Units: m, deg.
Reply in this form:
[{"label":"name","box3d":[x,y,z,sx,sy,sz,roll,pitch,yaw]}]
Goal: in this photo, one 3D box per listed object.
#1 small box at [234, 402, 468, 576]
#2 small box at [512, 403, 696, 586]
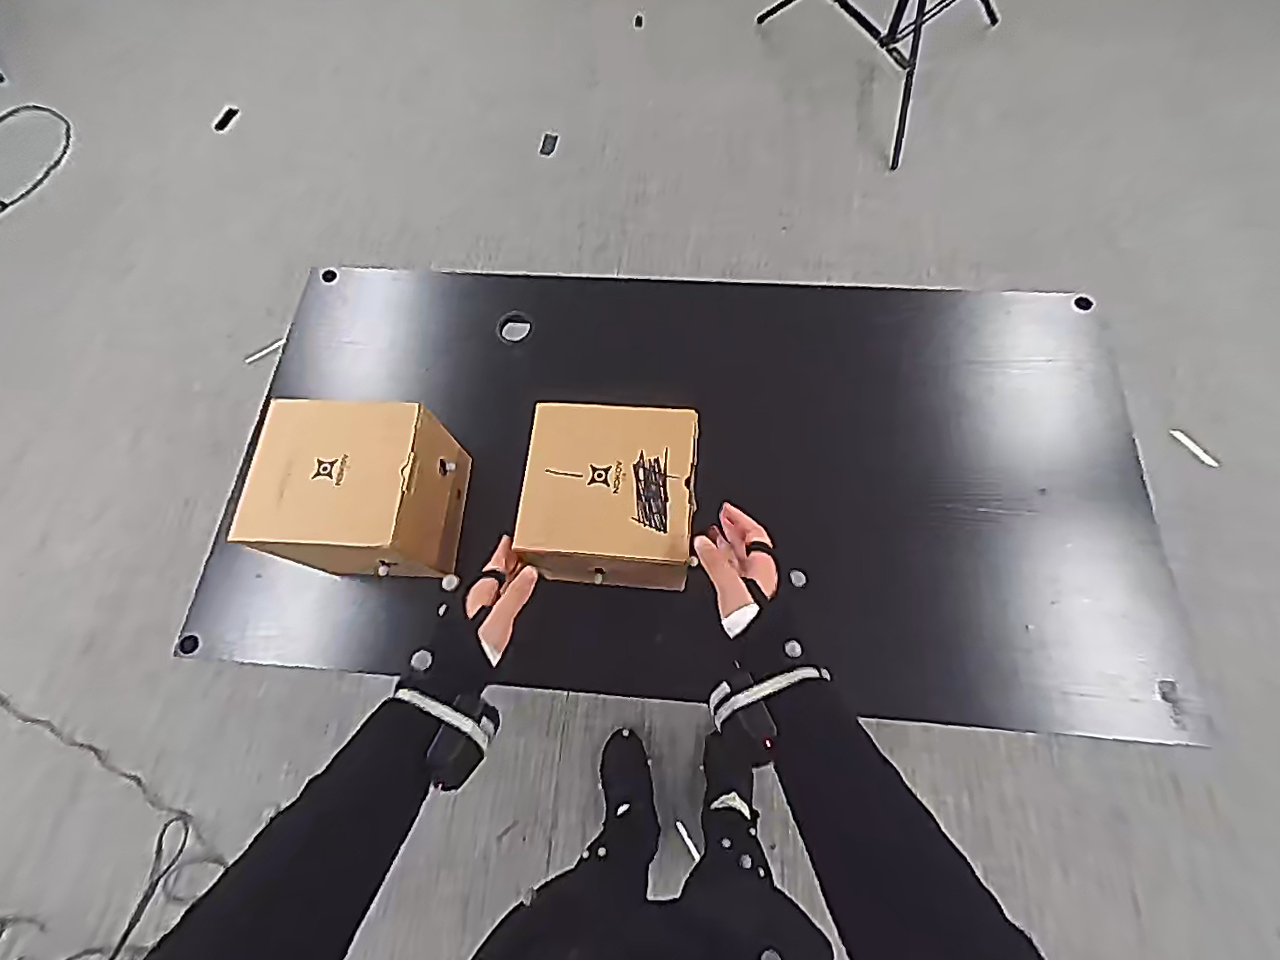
[{"label":"small box","box3d":[-0.325,0.018,0.652,0.179,0.176,0.168,1,69,4]},{"label":"small box","box3d":[-0.030,0.025,0.632,0.179,0.176,0.168,4,70,5]}]
